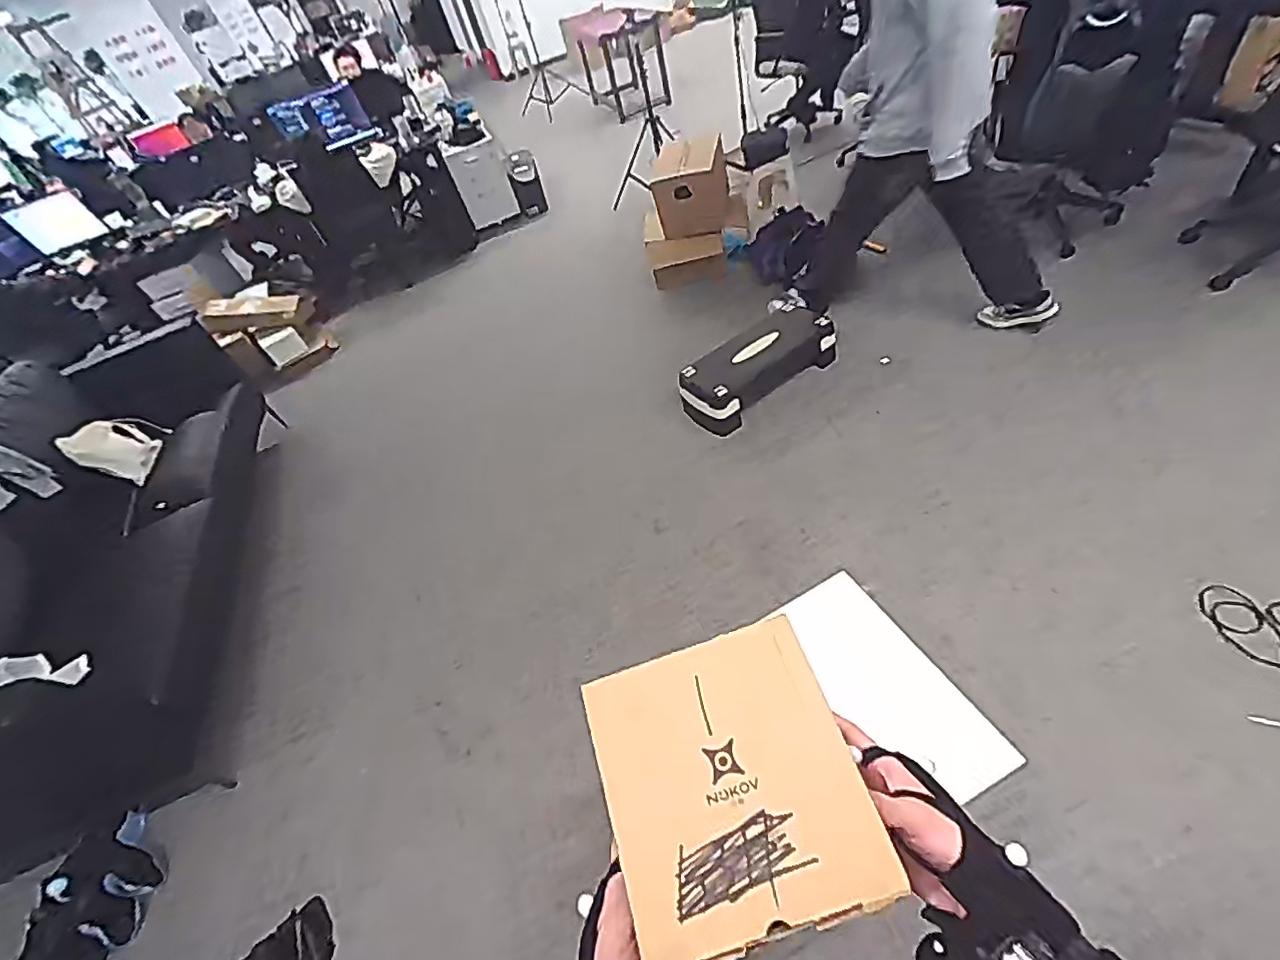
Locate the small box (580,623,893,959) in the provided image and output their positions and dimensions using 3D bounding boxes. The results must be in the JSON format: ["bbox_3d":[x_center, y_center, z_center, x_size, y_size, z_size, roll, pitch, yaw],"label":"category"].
[{"bbox_3d":[0.068,0.240,0.430,0.168,0.176,0.179,-19,58,1],"label":"small box"}]
